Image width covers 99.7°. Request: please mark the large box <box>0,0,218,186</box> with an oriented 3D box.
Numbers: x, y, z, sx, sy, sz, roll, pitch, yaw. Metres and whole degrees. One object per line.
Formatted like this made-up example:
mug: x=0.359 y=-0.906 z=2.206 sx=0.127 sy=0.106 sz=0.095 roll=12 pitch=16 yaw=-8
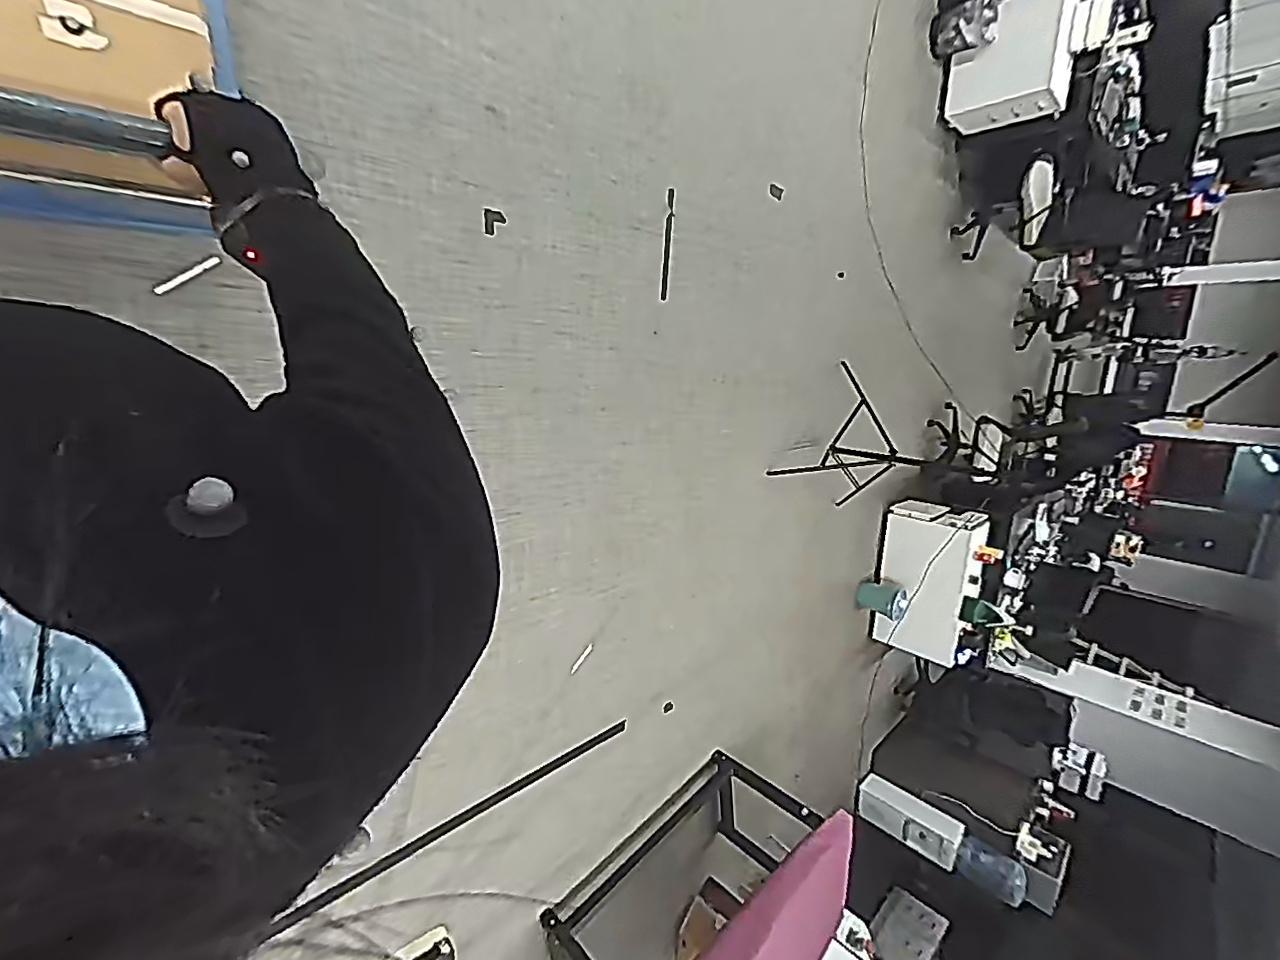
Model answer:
large box: x=-0.865 y=-0.626 z=0.725 sx=0.408 sy=0.320 sz=0.320 roll=-13 pitch=110 yaw=-43
